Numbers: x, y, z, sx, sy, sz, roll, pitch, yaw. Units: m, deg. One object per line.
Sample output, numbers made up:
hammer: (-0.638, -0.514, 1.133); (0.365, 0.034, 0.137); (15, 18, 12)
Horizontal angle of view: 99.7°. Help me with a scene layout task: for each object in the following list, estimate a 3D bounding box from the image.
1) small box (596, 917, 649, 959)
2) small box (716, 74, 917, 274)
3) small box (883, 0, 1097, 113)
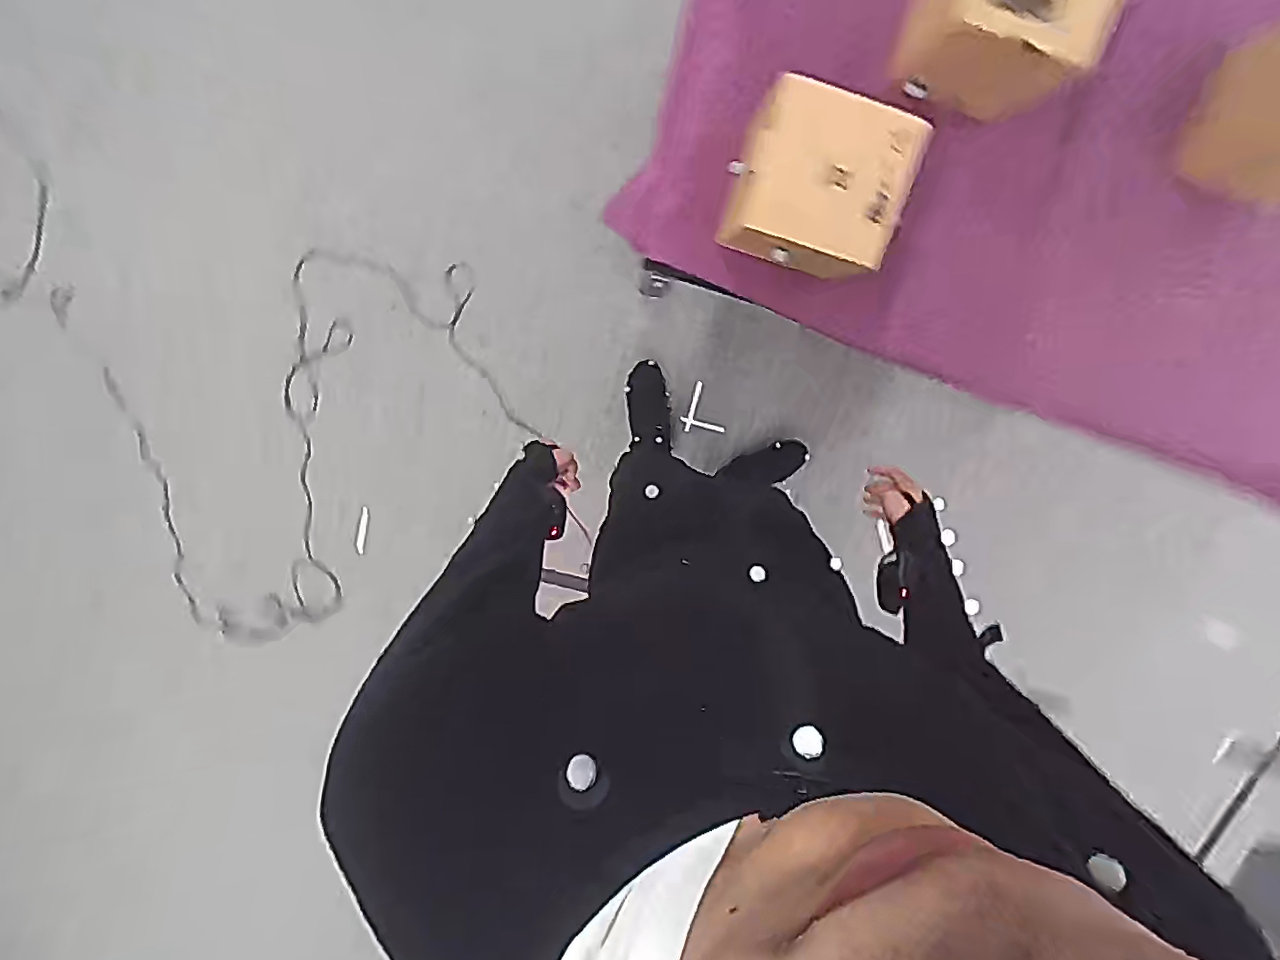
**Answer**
small box: (-0.066, 1.776, 1.998); (0.168, 0.176, 0.179); (13, 102, -7)
small box: (0.211, -0.379, 0.706); (0.179, 0.176, 0.168); (15, 105, -6)
small box: (0.428, -0.589, 0.659); (0.168, 0.176, 0.179); (13, 104, -6)
